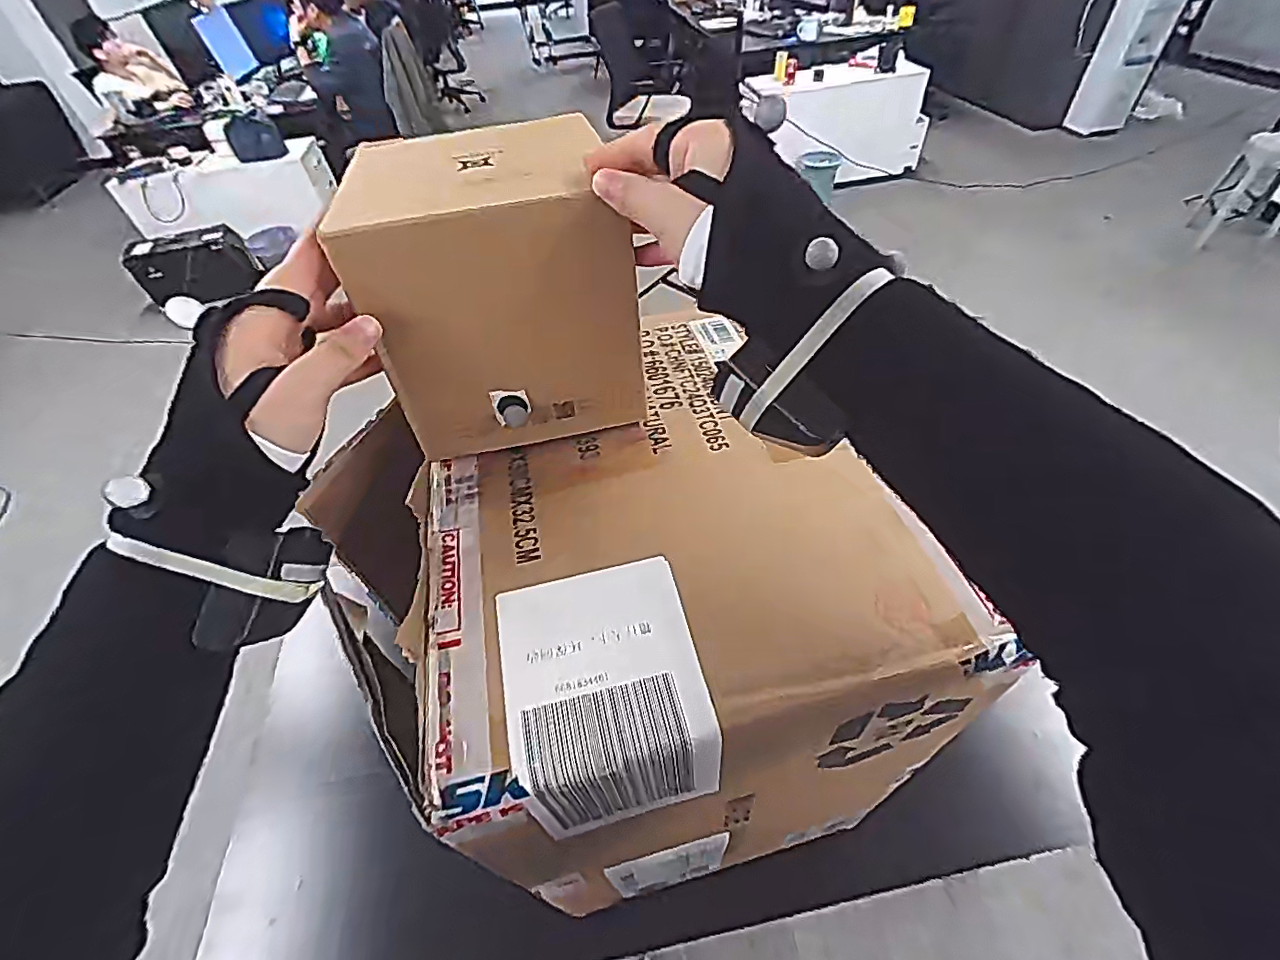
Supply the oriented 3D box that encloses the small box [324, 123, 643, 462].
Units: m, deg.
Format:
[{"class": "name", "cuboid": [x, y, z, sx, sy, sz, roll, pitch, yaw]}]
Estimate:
[{"class": "small box", "cuboid": [-0.100, -0.141, 0.405, 0.168, 0.176, 0.179, -14, 47, -6]}]
